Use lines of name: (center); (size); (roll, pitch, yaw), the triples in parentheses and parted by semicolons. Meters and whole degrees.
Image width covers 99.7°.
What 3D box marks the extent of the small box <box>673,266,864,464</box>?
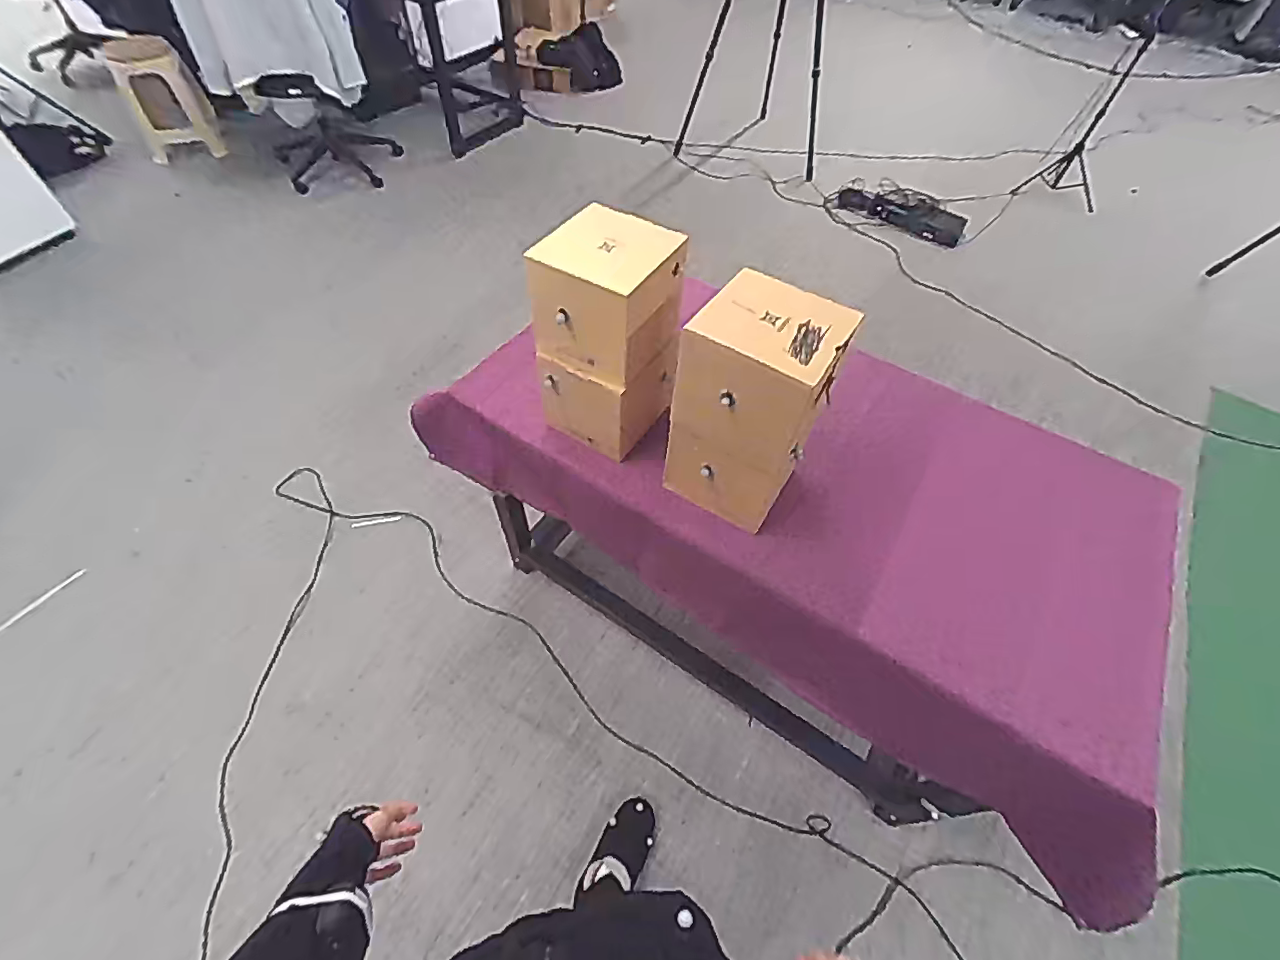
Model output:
small box: (0.161, -0.147, 0.725); (0.179, 0.176, 0.168); (30, 58, 18)

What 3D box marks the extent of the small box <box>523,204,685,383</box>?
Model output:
small box: (-0.048, -0.276, 0.811); (0.168, 0.176, 0.179); (26, 56, 15)

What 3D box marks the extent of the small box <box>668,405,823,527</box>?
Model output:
small box: (0.158, -0.054, 0.861); (0.179, 0.176, 0.168); (29, 58, 17)
